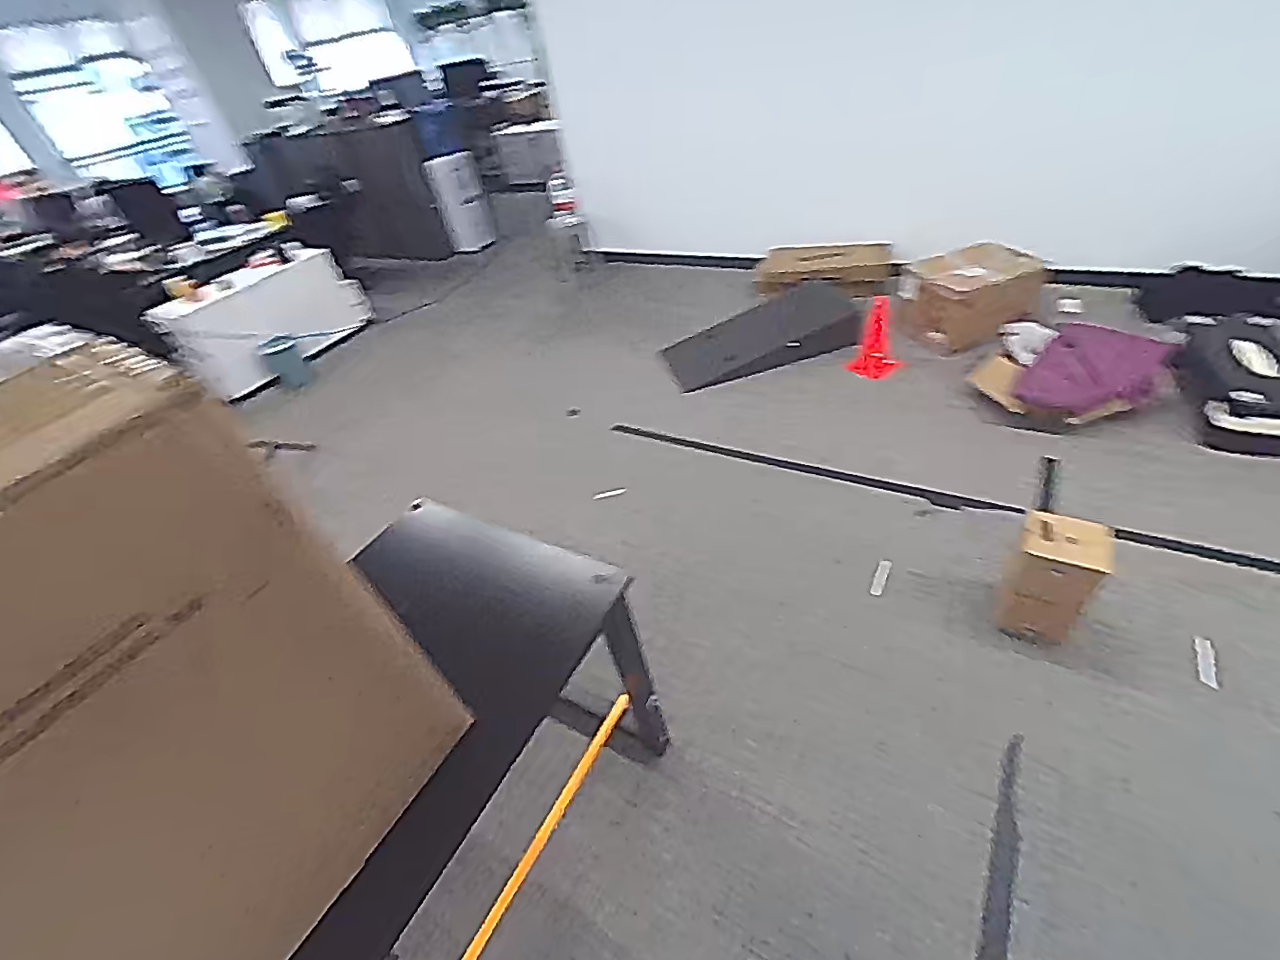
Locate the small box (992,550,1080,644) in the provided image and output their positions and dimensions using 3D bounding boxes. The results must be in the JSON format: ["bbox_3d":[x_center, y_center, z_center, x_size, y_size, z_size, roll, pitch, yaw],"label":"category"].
[{"bbox_3d":[1.124,0.334,1.546,0.168,0.176,0.179,10,47,25],"label":"small box"}]

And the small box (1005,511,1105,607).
[{"bbox_3d":[1.097,0.211,1.439,0.179,0.176,0.168,14,48,27],"label":"small box"}]
